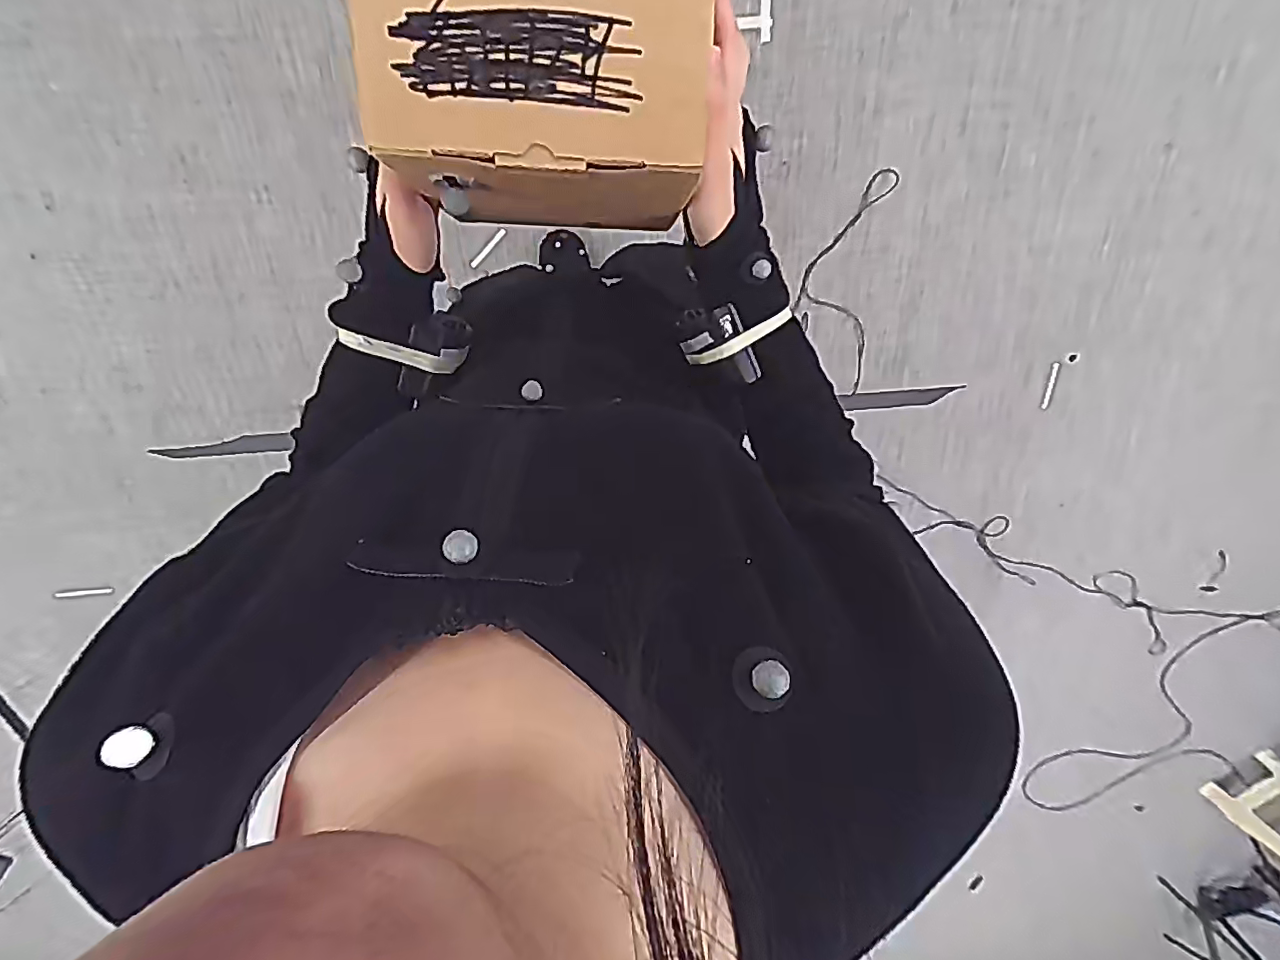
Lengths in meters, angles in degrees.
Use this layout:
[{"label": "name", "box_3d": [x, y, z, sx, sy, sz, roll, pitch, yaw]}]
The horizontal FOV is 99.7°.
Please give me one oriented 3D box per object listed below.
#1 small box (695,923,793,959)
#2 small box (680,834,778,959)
[{"label": "small box", "box_3d": [0.199, 0.951, 0.981, 0.179, 0.176, 0.168, -9, 118, -3]}, {"label": "small box", "box_3d": [0.180, 0.879, 1.126, 0.168, 0.176, 0.179, -8, 116, -3]}]
